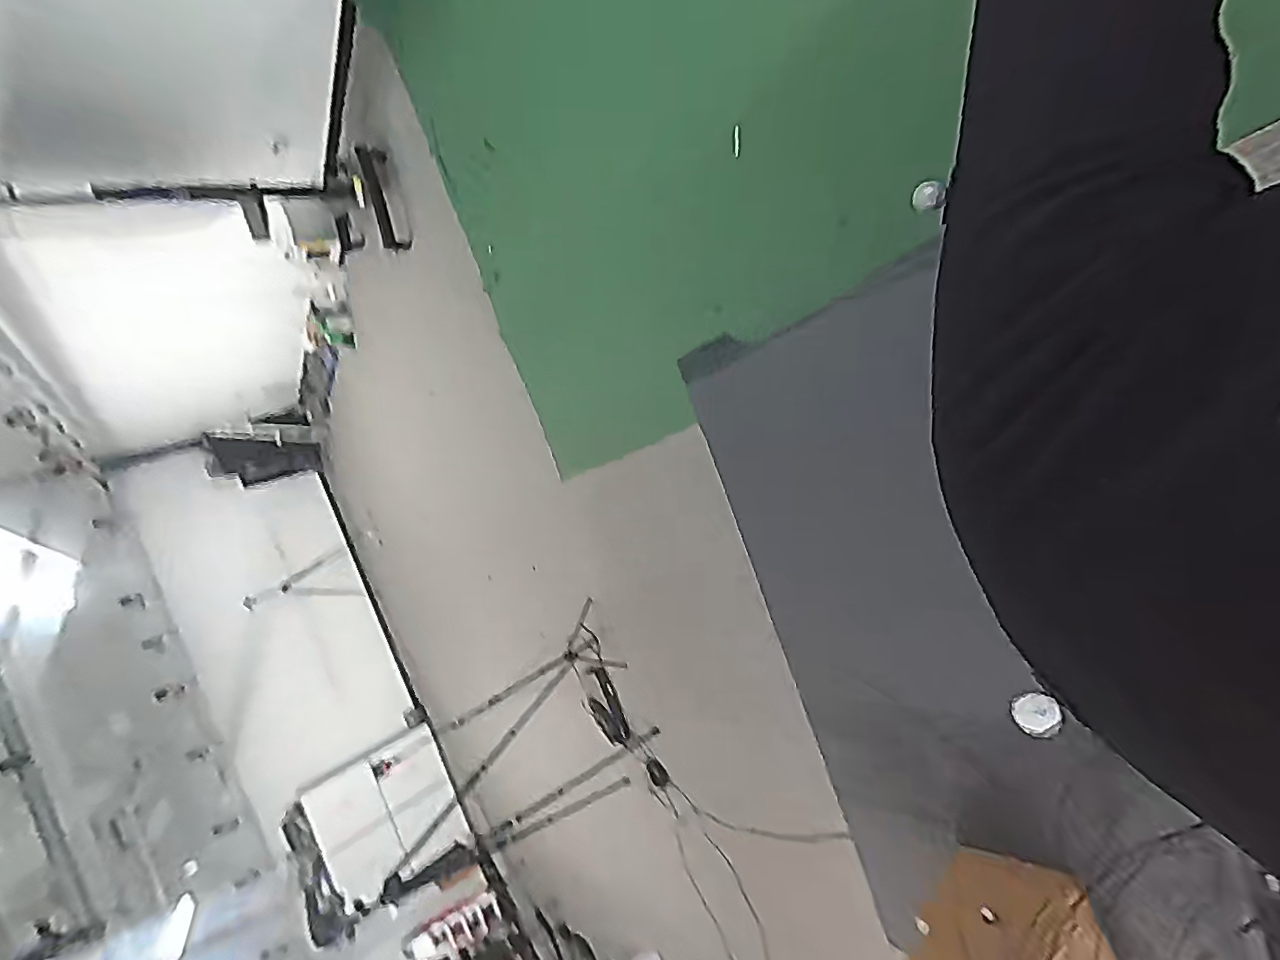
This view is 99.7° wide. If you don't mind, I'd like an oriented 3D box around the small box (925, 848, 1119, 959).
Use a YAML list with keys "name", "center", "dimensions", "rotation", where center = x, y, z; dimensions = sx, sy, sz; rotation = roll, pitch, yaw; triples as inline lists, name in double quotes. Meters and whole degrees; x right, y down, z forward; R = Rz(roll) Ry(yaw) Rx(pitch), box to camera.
- name: "small box"
  center: [0.565, 0.684, 0.789]
  dimensions: [0.179, 0.176, 0.168]
  rotation: [-28, 84, 54]
